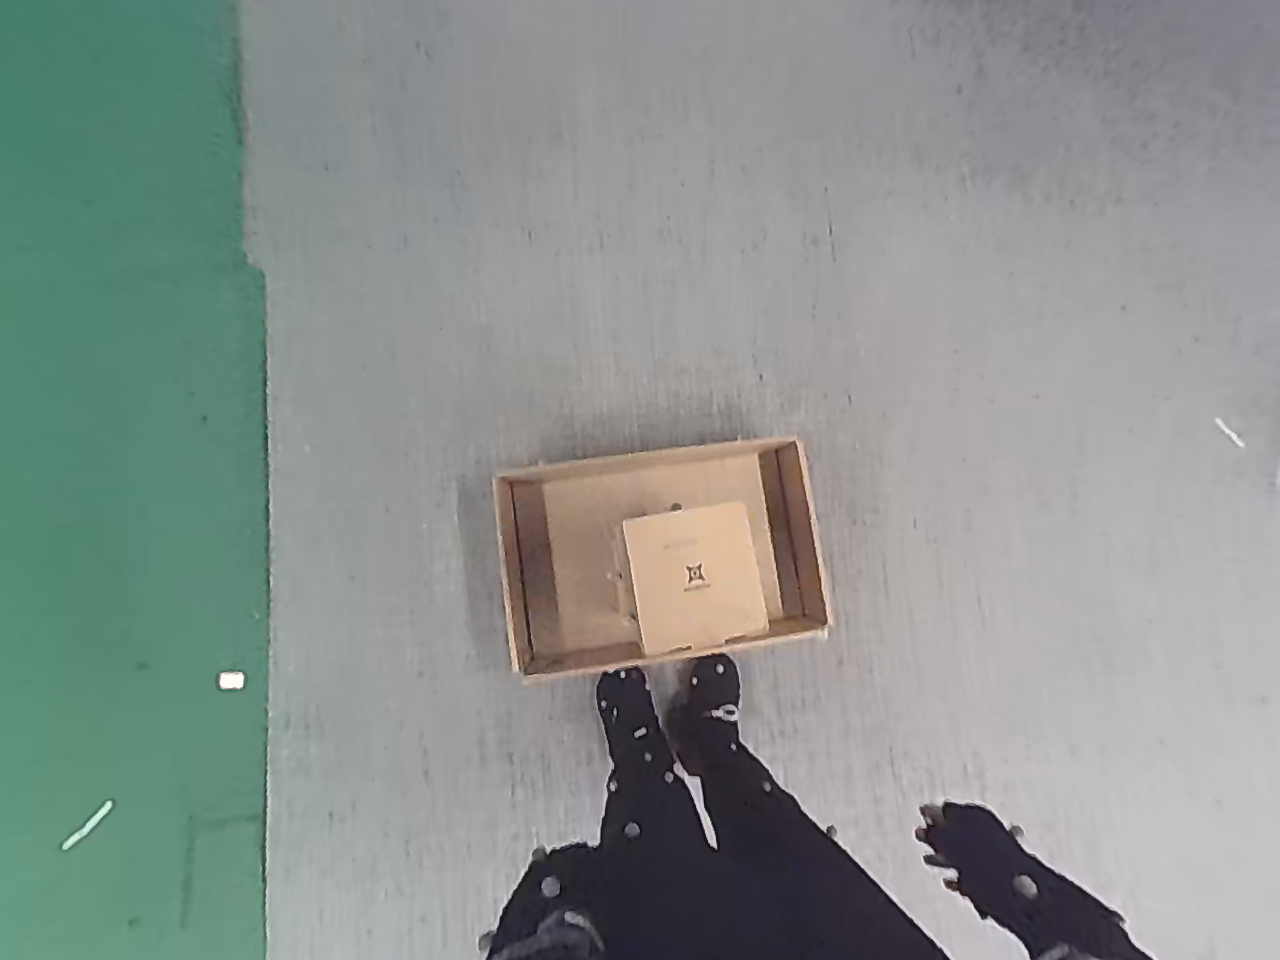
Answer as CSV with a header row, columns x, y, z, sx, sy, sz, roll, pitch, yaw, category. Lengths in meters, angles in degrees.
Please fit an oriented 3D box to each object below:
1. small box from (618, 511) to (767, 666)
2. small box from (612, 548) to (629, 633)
x,y,z,sx,sy,sz,roll,pitch,yaw,category
0.064,0.149,0.773,0.168,0.176,0.179,-10,81,-6,small box
0.035,0.212,1.107,0.179,0.176,0.168,-6,82,-3,small box
